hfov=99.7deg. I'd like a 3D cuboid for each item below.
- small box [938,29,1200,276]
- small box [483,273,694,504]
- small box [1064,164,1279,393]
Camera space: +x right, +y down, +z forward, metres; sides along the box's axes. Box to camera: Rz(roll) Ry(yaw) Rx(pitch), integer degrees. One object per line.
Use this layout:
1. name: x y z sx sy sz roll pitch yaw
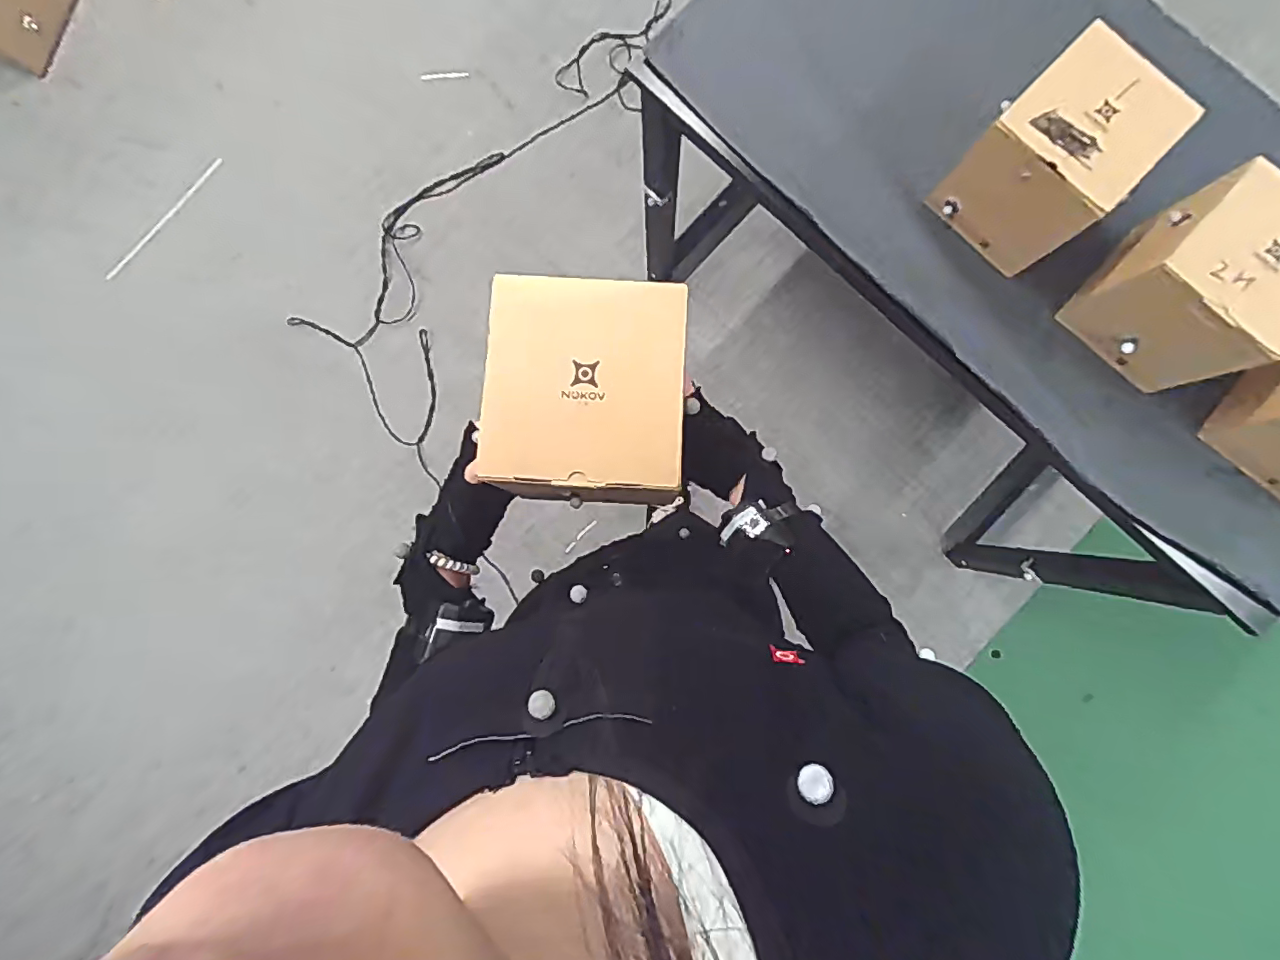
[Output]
1. small box: 0.528 -0.404 0.702 0.168 0.176 0.179 45 87 3
2. small box: -0.043 -0.073 0.521 0.168 0.176 0.179 2 84 -1
3. small box: 0.705 -0.239 0.686 0.168 0.176 0.179 43 88 4
